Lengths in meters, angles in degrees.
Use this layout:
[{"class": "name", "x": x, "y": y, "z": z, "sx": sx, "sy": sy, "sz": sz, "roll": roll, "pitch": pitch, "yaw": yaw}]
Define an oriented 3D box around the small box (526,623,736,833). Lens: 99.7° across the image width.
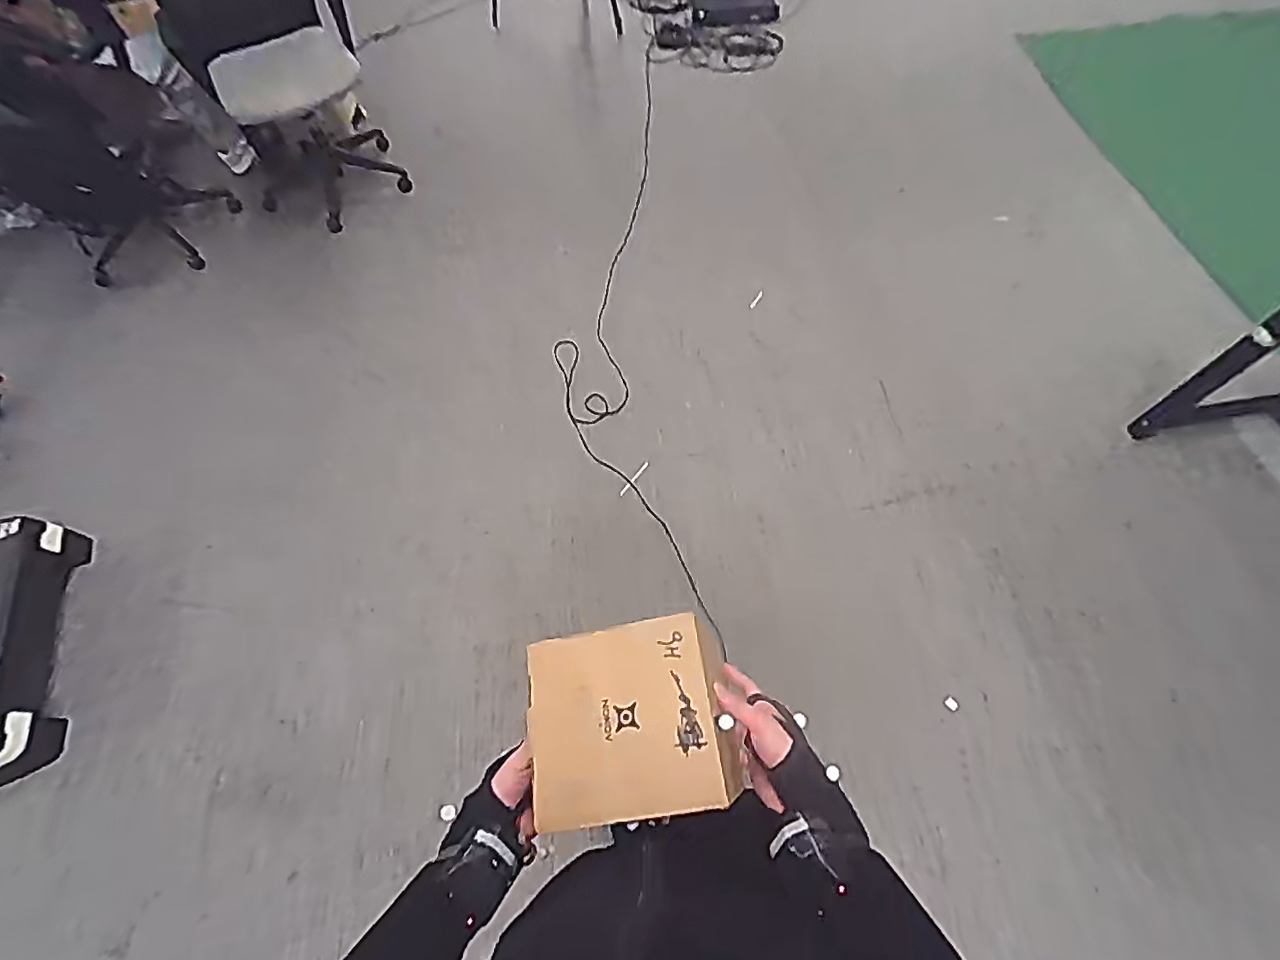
[{"class": "small box", "x": -0.004, "y": 0.260, "z": 0.566, "sx": 0.179, "sy": 0.176, "sz": 0.168, "roll": -11, "pitch": 62, "yaw": 9}]
